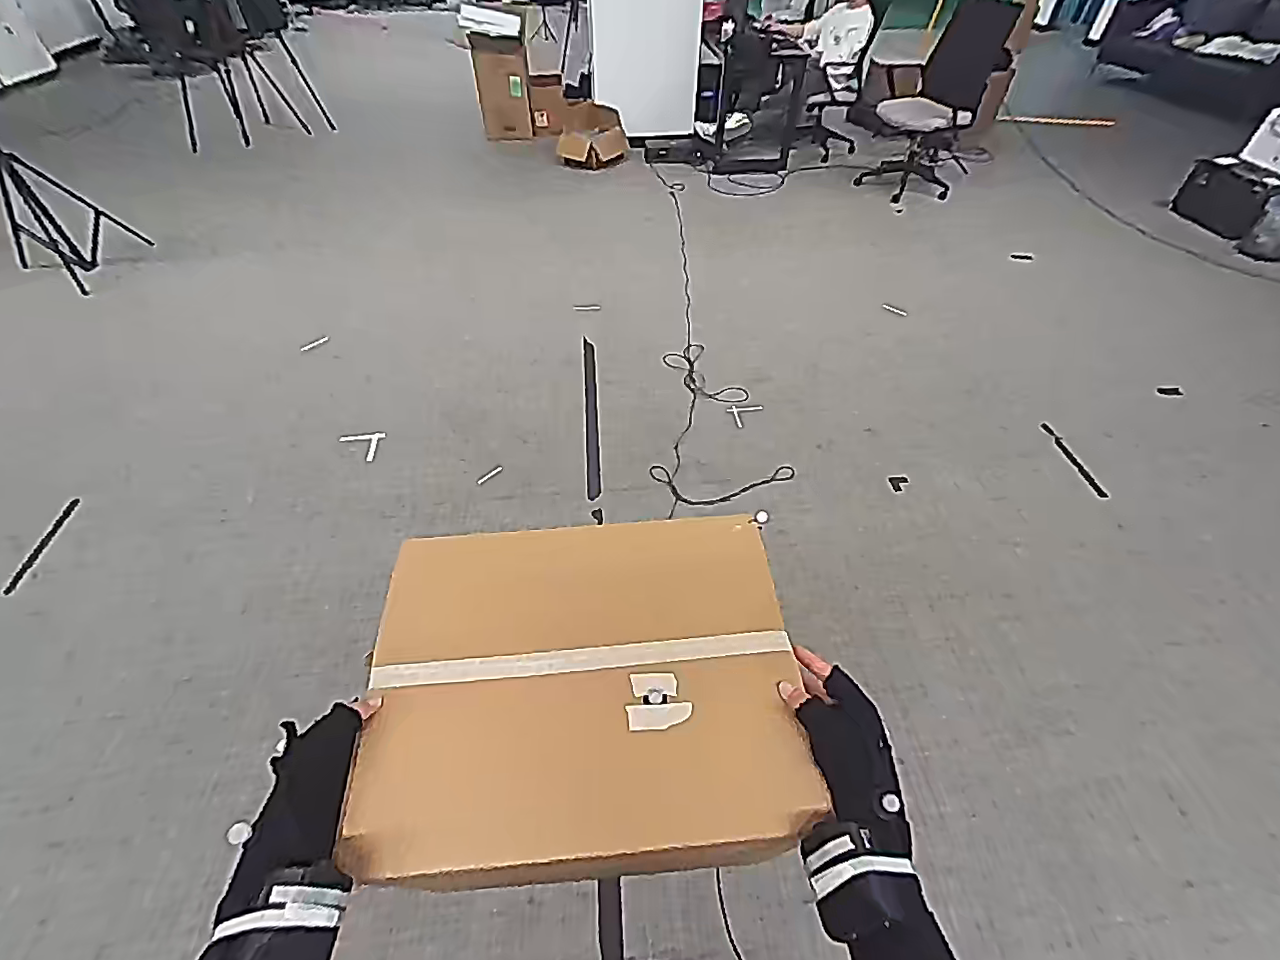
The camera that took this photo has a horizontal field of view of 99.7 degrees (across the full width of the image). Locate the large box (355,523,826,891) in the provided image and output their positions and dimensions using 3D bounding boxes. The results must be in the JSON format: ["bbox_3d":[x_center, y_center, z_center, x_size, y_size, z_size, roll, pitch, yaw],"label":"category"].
[{"bbox_3d":[-0.051,0.279,0.656,0.408,0.320,0.320,-4,52,-3],"label":"large box"}]
